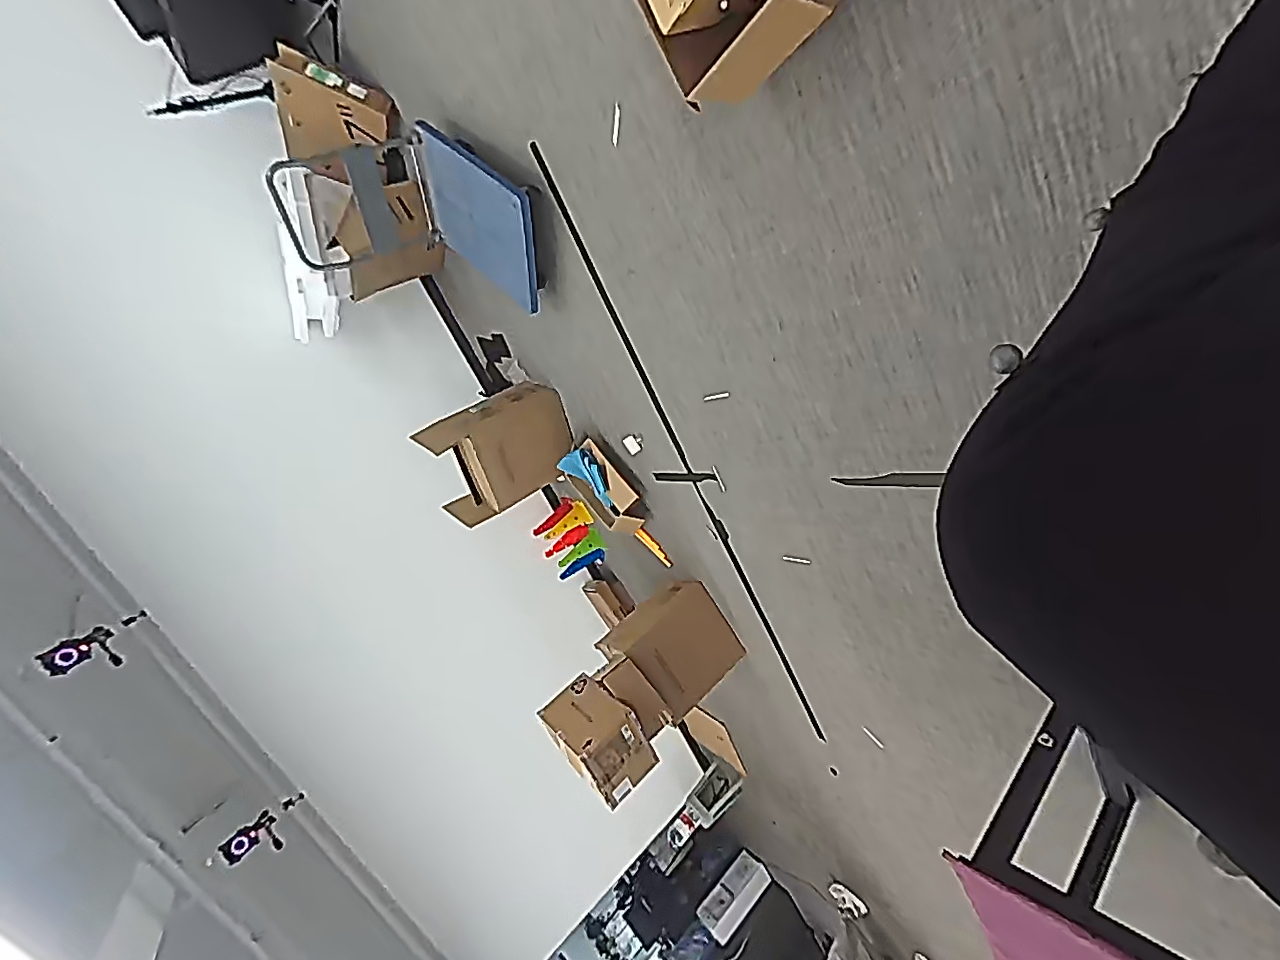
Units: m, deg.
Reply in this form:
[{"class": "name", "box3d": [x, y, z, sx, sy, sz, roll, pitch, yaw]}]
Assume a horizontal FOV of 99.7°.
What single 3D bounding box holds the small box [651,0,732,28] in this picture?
[{"class": "small box", "box3d": [0.113, -1.068, 1.088, 0.168, 0.176, 0.179, -2, 119, 60]}]
